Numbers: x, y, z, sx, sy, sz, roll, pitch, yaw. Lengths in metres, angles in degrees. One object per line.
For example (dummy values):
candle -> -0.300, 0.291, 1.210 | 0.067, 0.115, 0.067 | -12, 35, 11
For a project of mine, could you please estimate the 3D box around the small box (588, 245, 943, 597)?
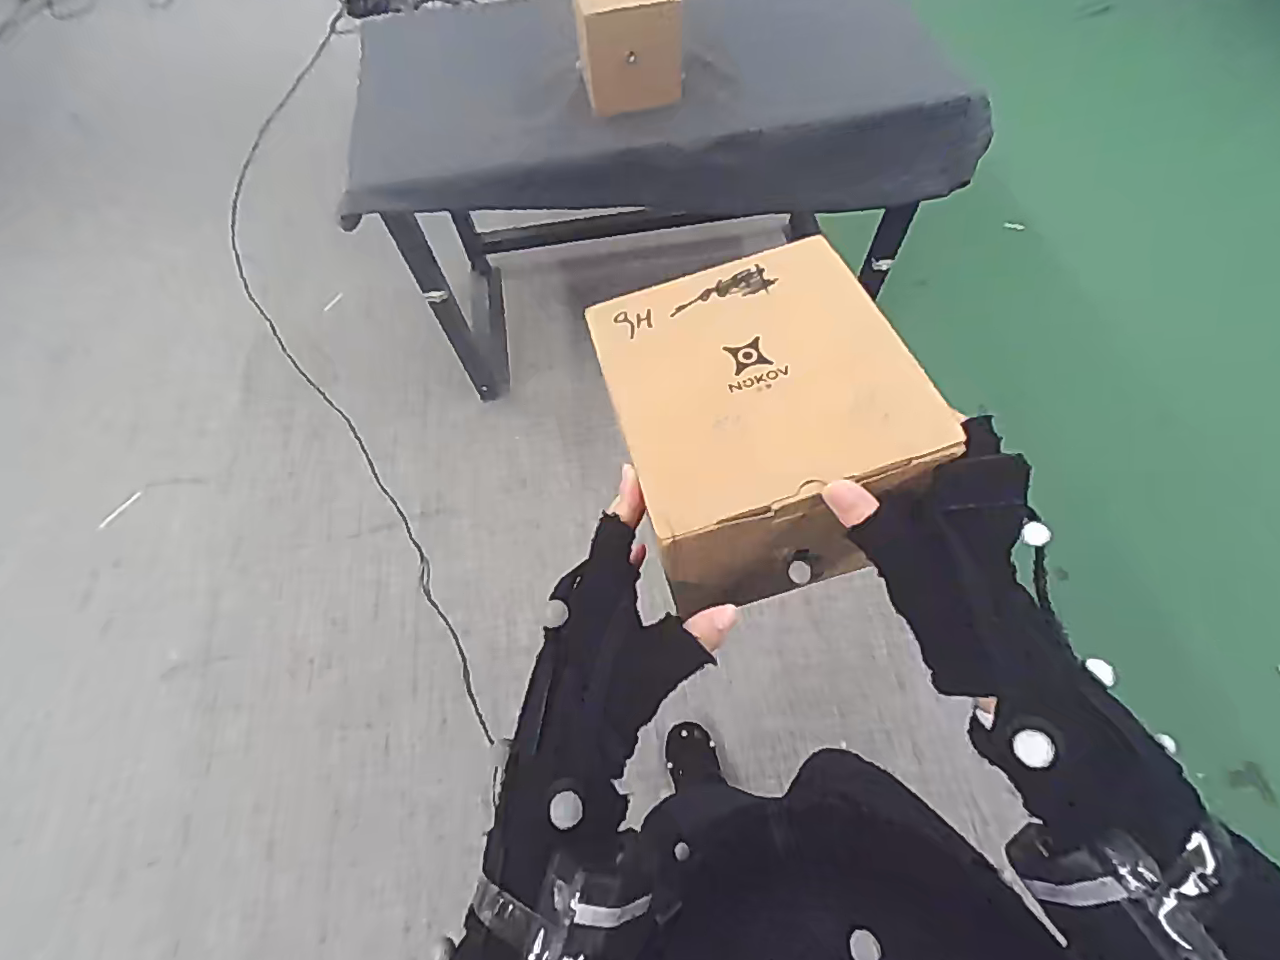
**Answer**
small box -> 0.076, -0.027, 0.397 | 0.168, 0.176, 0.179 | -18, 61, 0

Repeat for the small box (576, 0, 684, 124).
small box -> -0.020, -0.824, 1.034 | 0.179, 0.176, 0.168 | -12, 64, -2
